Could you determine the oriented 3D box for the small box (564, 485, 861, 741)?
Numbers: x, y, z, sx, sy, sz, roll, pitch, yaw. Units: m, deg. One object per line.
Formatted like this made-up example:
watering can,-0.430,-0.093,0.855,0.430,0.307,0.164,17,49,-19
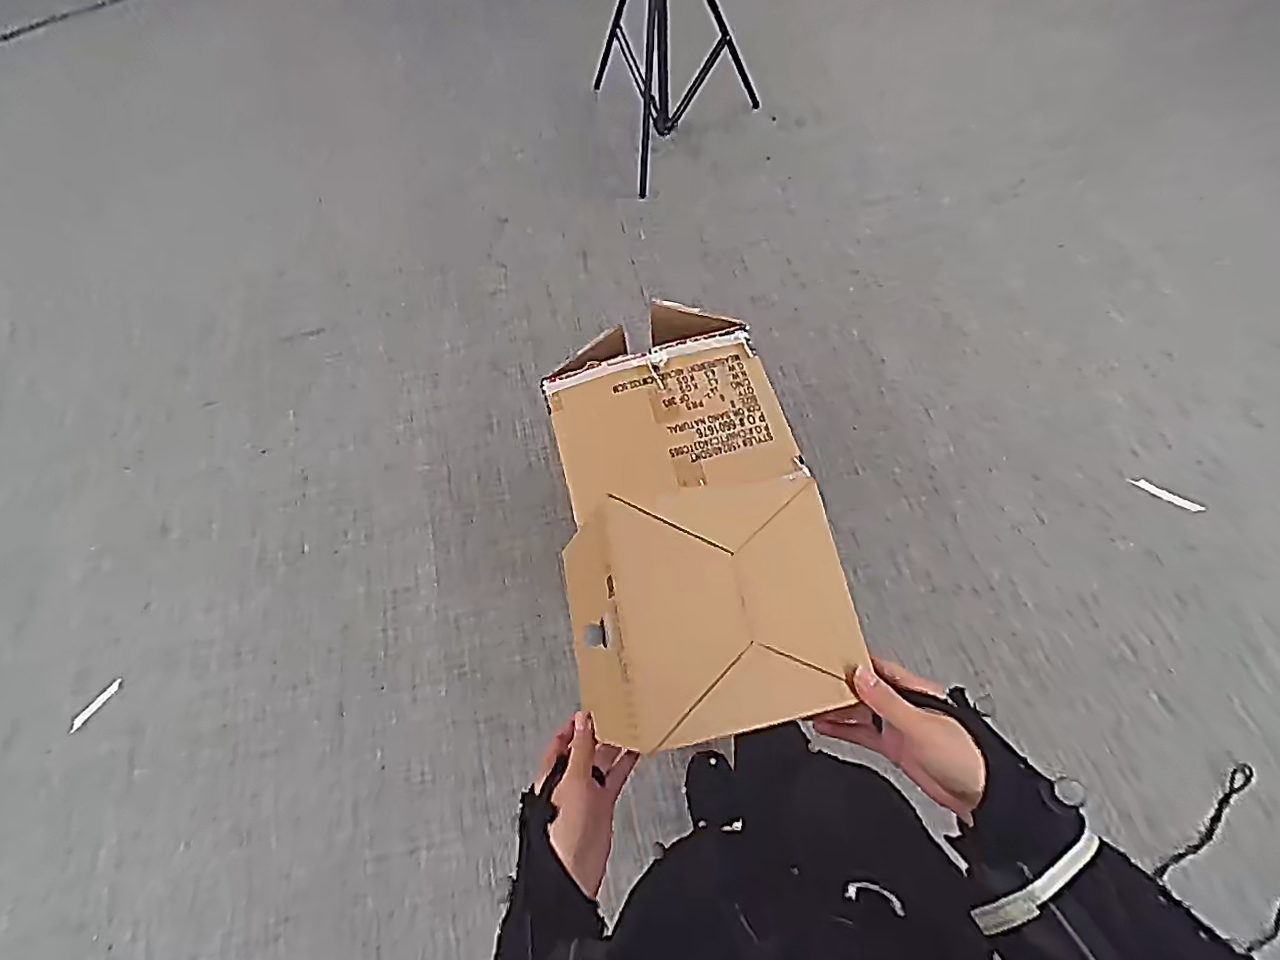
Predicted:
small box,0.046,0.110,0.448,0.179,0.176,0.168,-3,69,-20
